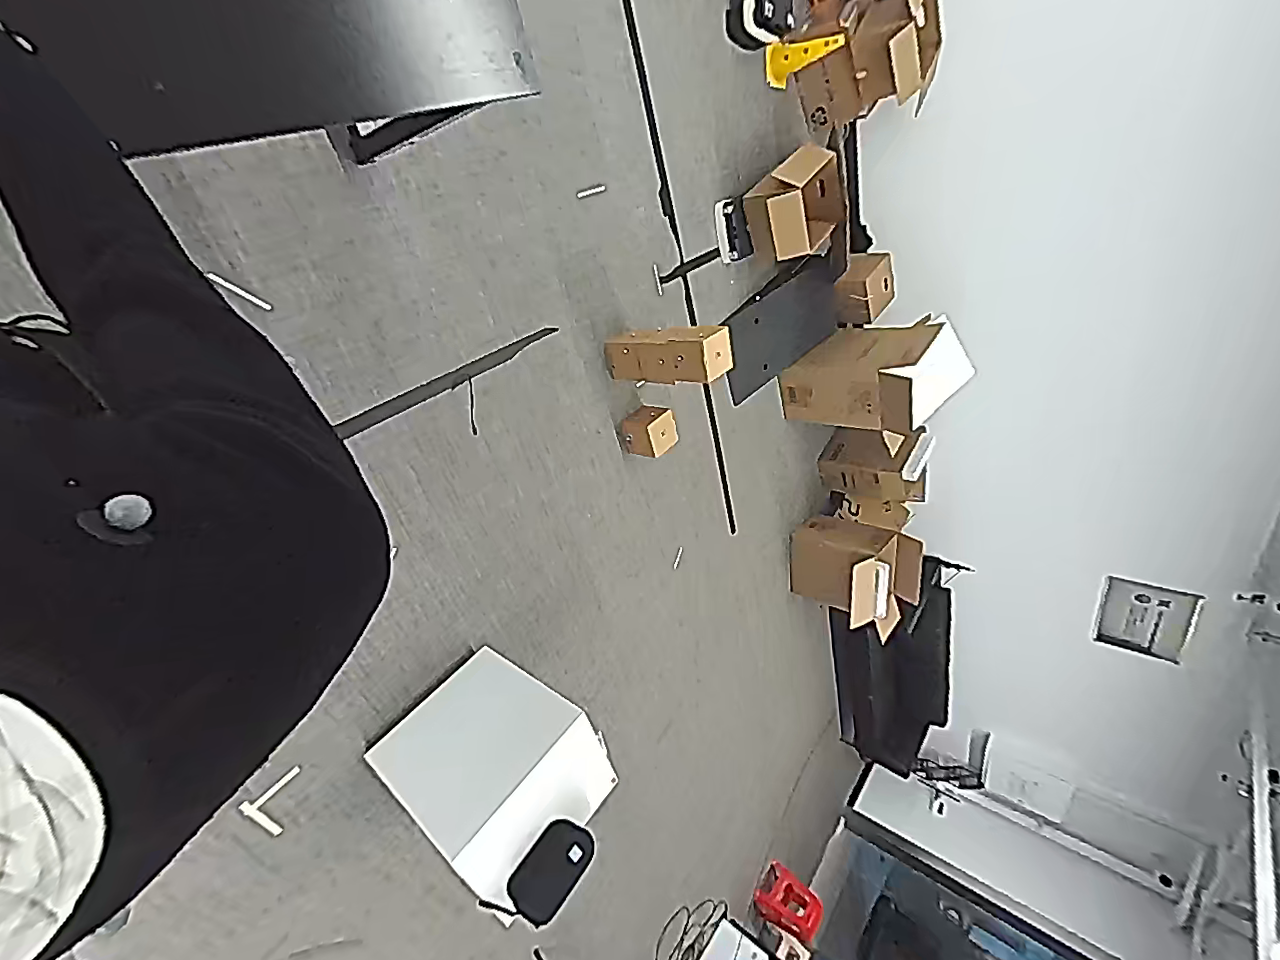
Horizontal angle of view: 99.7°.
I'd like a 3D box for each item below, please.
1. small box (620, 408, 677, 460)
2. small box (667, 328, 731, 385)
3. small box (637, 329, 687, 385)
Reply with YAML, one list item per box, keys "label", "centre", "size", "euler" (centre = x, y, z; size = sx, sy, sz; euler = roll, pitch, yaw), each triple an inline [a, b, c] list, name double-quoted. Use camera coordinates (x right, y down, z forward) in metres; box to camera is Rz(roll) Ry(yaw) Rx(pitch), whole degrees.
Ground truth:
- label: "small box"
  centre: [0.040, -0.213, 2.448]
  size: [0.179, 0.176, 0.168]
  euler: [-41, 127, -34]
- label: "small box"
  centre: [0.229, -0.482, 2.084]
  size: [0.179, 0.176, 0.168]
  euler: [-38, 127, -36]
- label: "small box"
  centre: [0.106, -0.498, 2.189]
  size: [0.168, 0.176, 0.179]
  euler: [-40, 129, -36]
